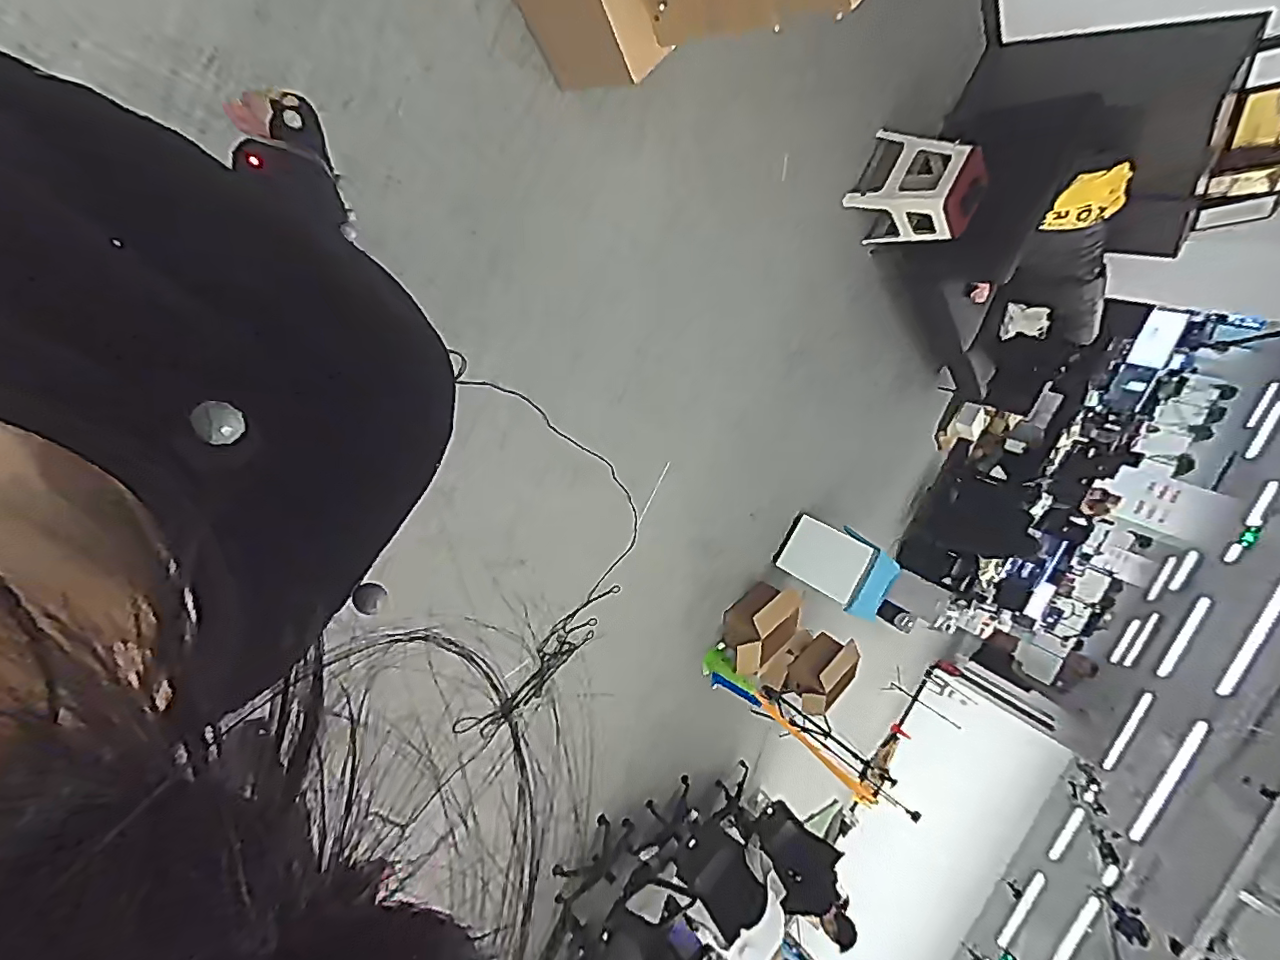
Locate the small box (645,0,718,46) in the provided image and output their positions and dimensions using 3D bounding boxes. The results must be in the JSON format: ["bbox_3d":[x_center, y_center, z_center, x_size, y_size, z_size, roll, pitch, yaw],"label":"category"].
[{"bbox_3d":[0.126,-1.127,1.221,0.179,0.176,0.168,-52,140,-12],"label":"small box"}]
